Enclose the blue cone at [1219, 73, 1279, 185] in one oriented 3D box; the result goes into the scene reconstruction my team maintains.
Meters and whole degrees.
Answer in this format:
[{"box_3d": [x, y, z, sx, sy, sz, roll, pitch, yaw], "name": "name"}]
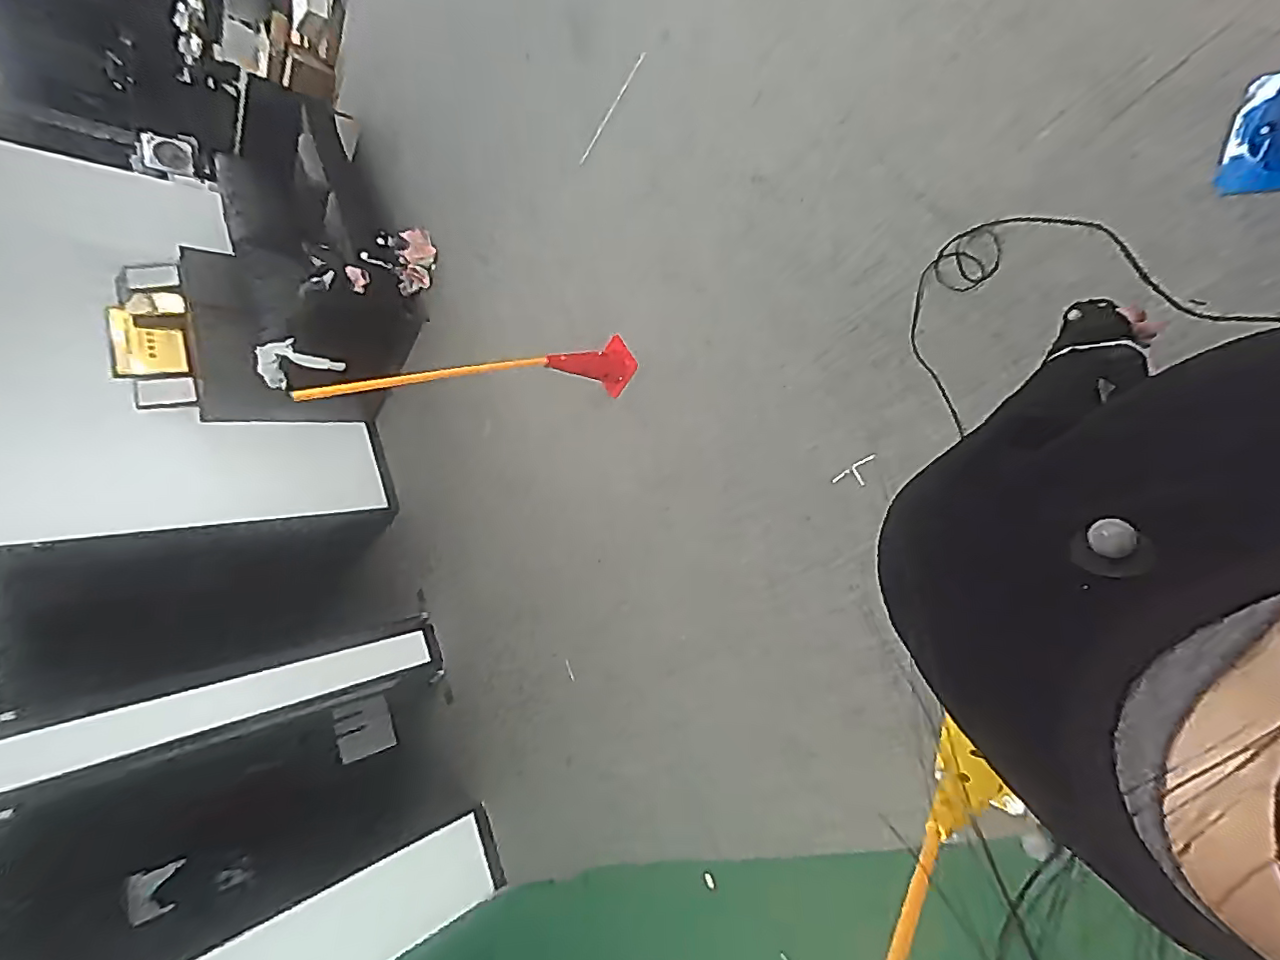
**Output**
[{"box_3d": [1.035, -0.613, 0.820, 0.192, 0.380, 0.193, 20, 106, 43], "name": "blue cone"}]
